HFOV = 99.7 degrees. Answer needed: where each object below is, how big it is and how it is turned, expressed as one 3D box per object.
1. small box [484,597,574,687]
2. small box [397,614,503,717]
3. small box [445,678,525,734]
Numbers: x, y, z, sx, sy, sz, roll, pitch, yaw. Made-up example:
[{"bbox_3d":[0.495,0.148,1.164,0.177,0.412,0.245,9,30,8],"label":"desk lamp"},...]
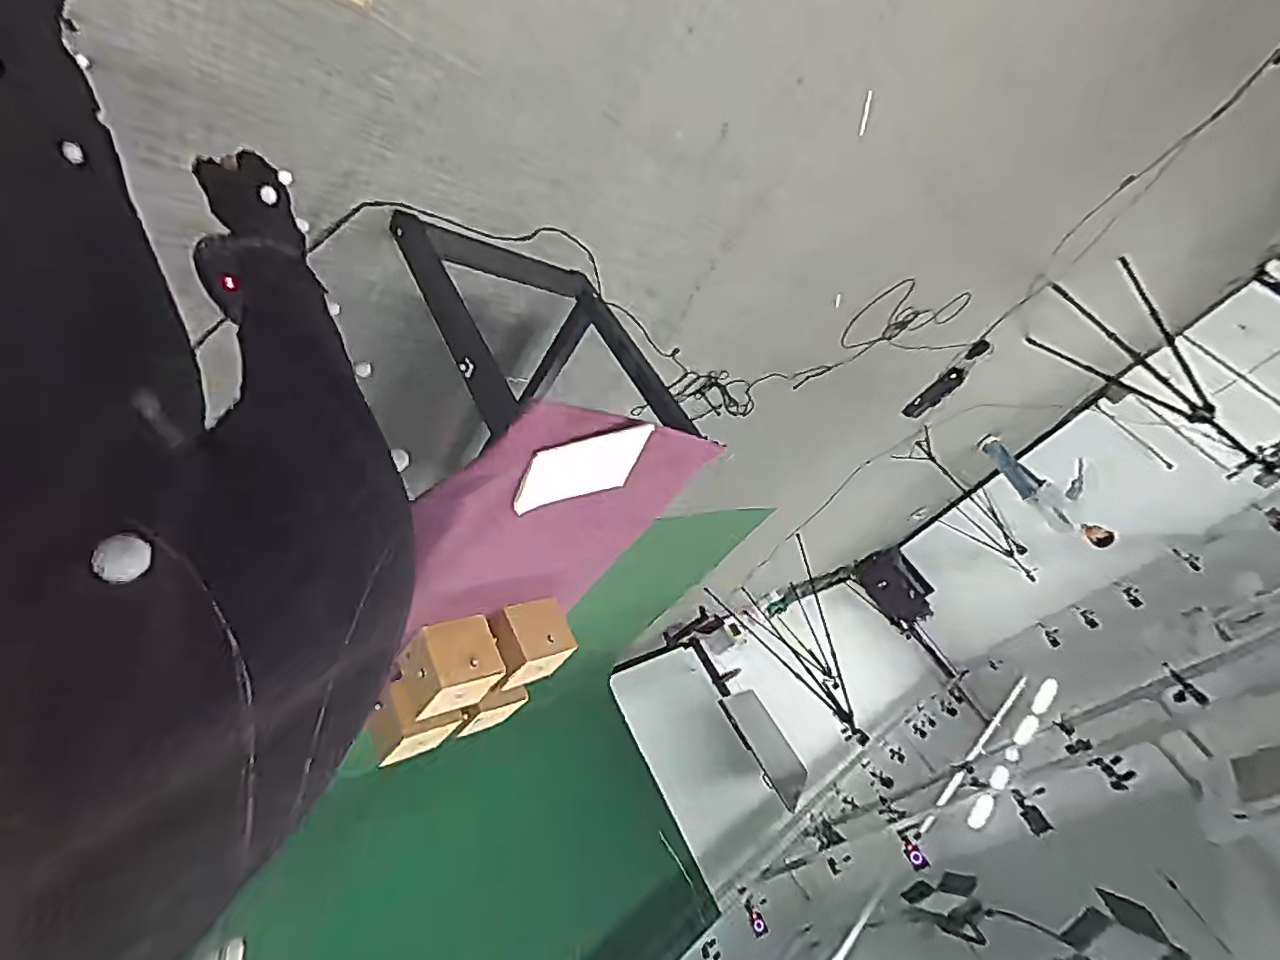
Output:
[{"bbox_3d":[-0.324,0.447,1.522,0.179,0.176,0.168,0,139,-47],"label":"small box"},{"bbox_3d":[-0.486,0.461,1.367,0.179,0.176,0.168,2,137,-50],"label":"small box"},{"bbox_3d":[-0.498,0.651,1.684,0.179,0.176,0.168,4,136,-52],"label":"small box"}]
